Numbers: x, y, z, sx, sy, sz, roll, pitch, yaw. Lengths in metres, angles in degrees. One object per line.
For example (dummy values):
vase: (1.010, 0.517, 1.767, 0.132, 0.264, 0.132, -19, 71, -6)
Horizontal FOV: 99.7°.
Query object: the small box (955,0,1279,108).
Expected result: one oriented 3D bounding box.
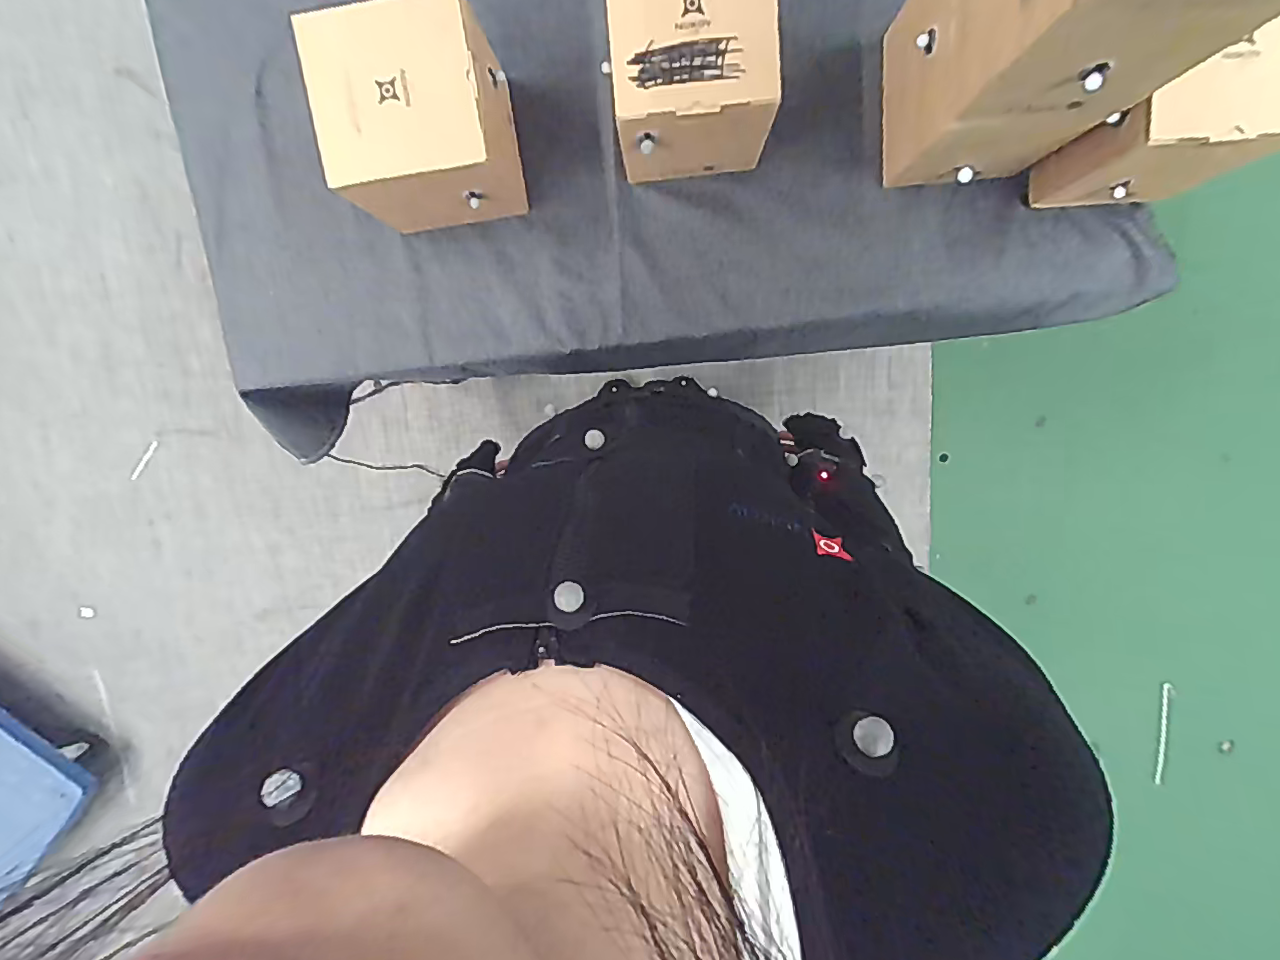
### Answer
small box: (0.376, -0.424, 0.427, 0.168, 0.176, 0.179, -2, 99, 3)
